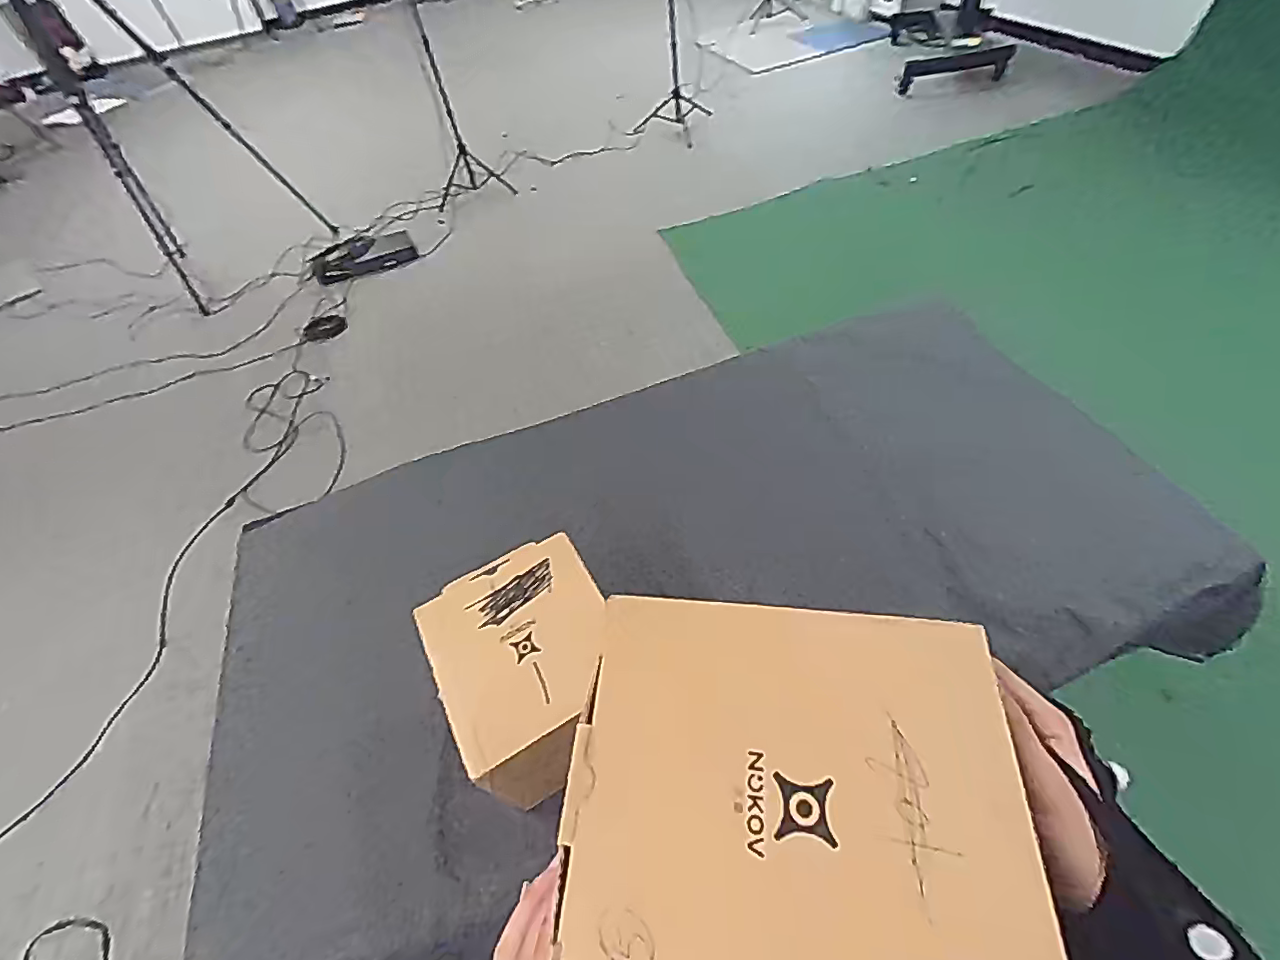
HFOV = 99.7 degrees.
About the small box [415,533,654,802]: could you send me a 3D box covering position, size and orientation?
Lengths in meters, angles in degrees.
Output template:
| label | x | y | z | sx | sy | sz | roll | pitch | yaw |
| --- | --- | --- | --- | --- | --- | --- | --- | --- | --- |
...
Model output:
| label | x | y | z | sx | sy | sz | roll | pitch | yaw |
| --- | --- | --- | --- | --- | --- | --- | --- | --- | --- |
| small box | -0.100 | 0.194 | 0.556 | 0.168 | 0.176 | 0.179 | -28 | 54 | -13 |
